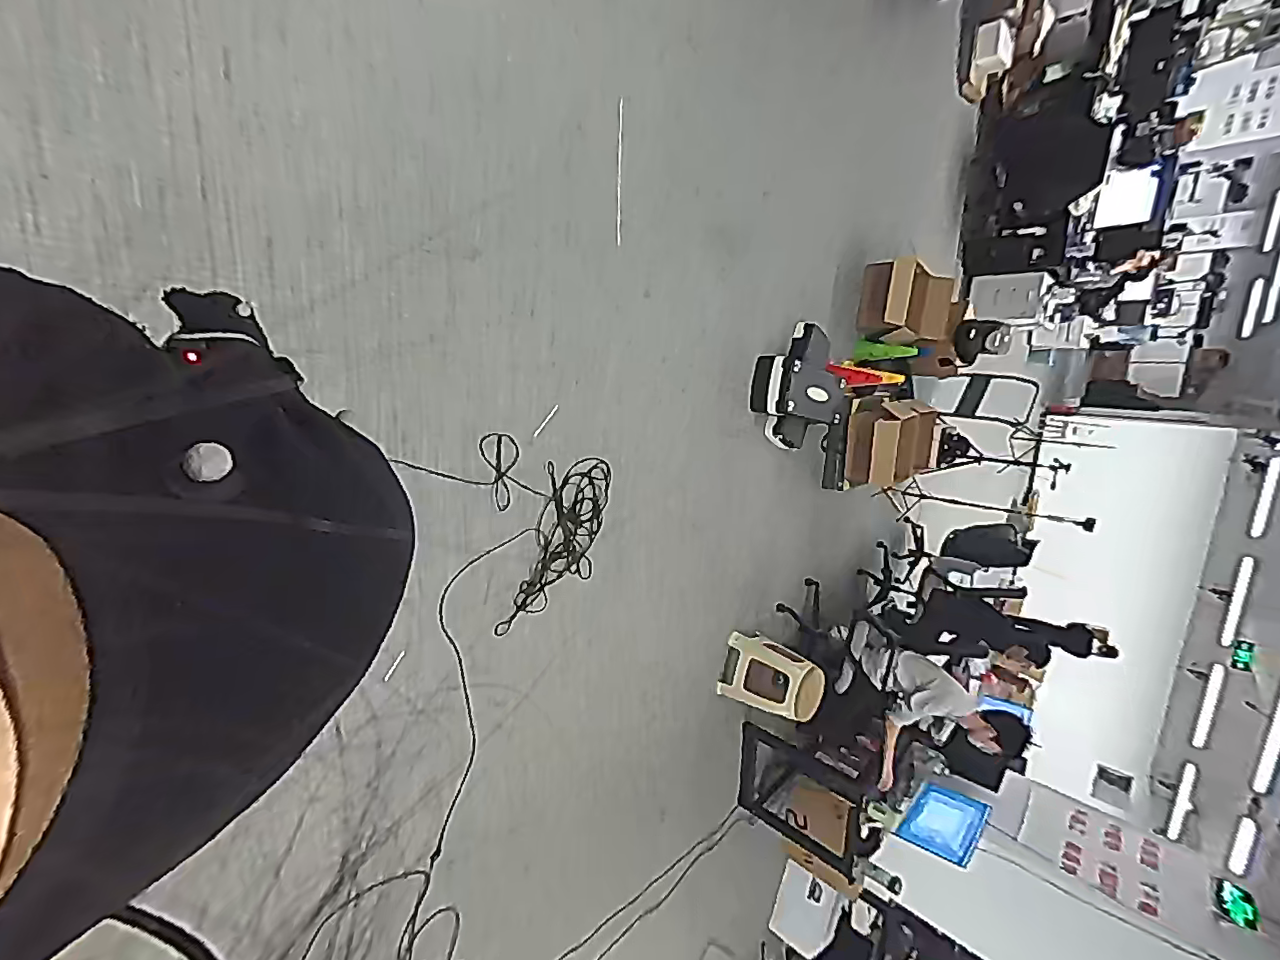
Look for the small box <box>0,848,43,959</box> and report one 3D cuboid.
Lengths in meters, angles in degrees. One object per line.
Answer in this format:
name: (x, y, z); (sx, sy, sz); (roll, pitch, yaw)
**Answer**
small box: (-1.234, 0.839, 0.996); (0.168, 0.176, 0.179); (-10, 106, -47)
